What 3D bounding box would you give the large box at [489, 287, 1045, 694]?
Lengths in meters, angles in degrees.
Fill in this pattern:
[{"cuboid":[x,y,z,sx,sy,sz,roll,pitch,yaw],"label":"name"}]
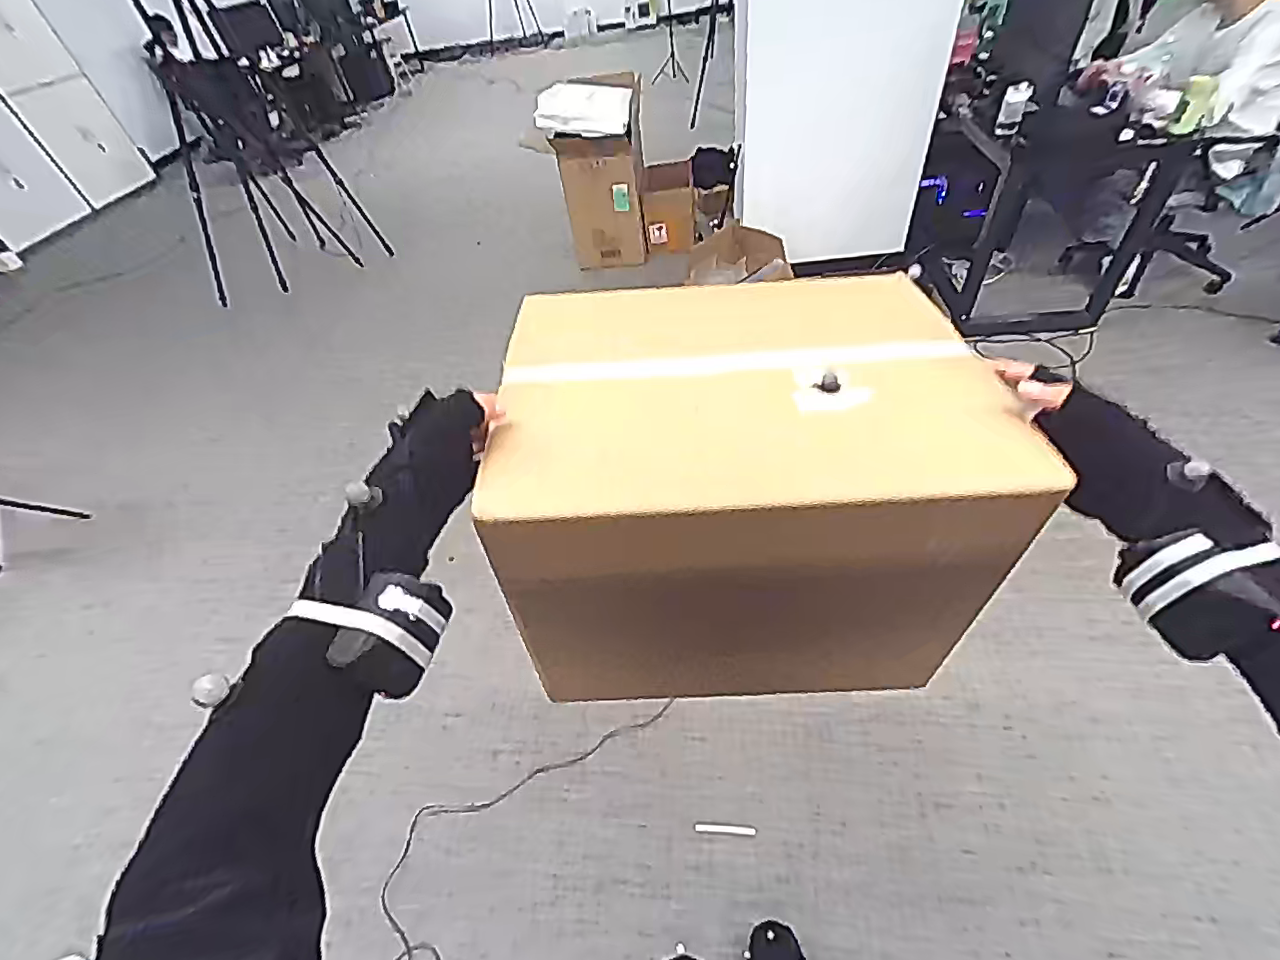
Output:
[{"cuboid":[0.088,0.012,0.587,0.408,0.320,0.320,-2,46,1],"label":"large box"}]
